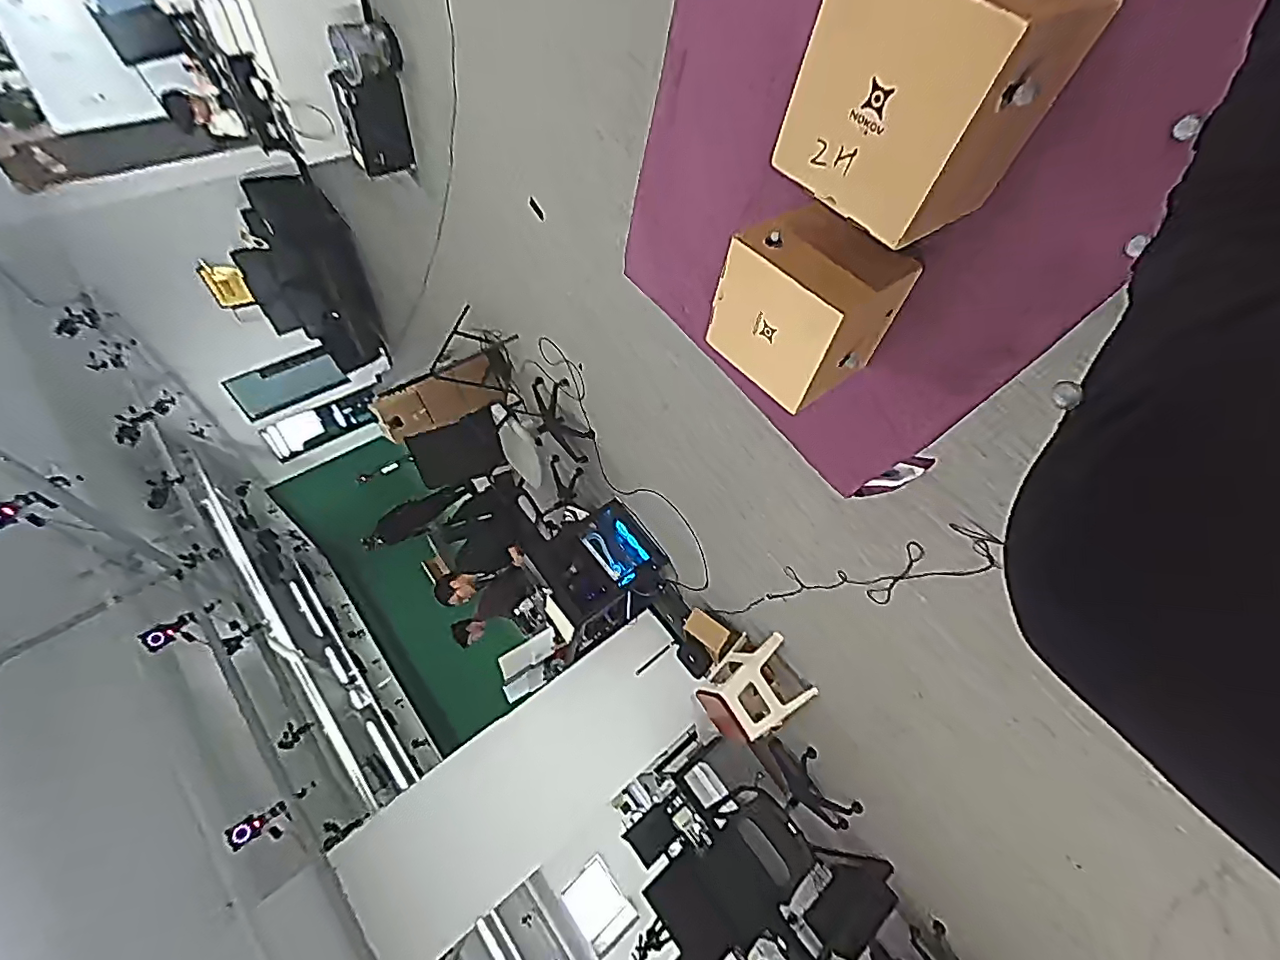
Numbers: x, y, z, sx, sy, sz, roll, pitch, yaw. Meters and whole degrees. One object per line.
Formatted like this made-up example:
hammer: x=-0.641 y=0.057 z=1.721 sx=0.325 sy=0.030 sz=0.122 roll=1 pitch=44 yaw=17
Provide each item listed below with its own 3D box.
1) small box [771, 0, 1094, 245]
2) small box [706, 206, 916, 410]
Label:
small box: x=0.257 y=-0.357 z=0.492 sx=0.168 sy=0.176 sz=0.179 roll=49 pitch=153 yaw=21
small box: x=0.219 y=-0.232 z=0.712 sx=0.179 sy=0.176 sz=0.168 roll=47 pitch=153 yaw=23
